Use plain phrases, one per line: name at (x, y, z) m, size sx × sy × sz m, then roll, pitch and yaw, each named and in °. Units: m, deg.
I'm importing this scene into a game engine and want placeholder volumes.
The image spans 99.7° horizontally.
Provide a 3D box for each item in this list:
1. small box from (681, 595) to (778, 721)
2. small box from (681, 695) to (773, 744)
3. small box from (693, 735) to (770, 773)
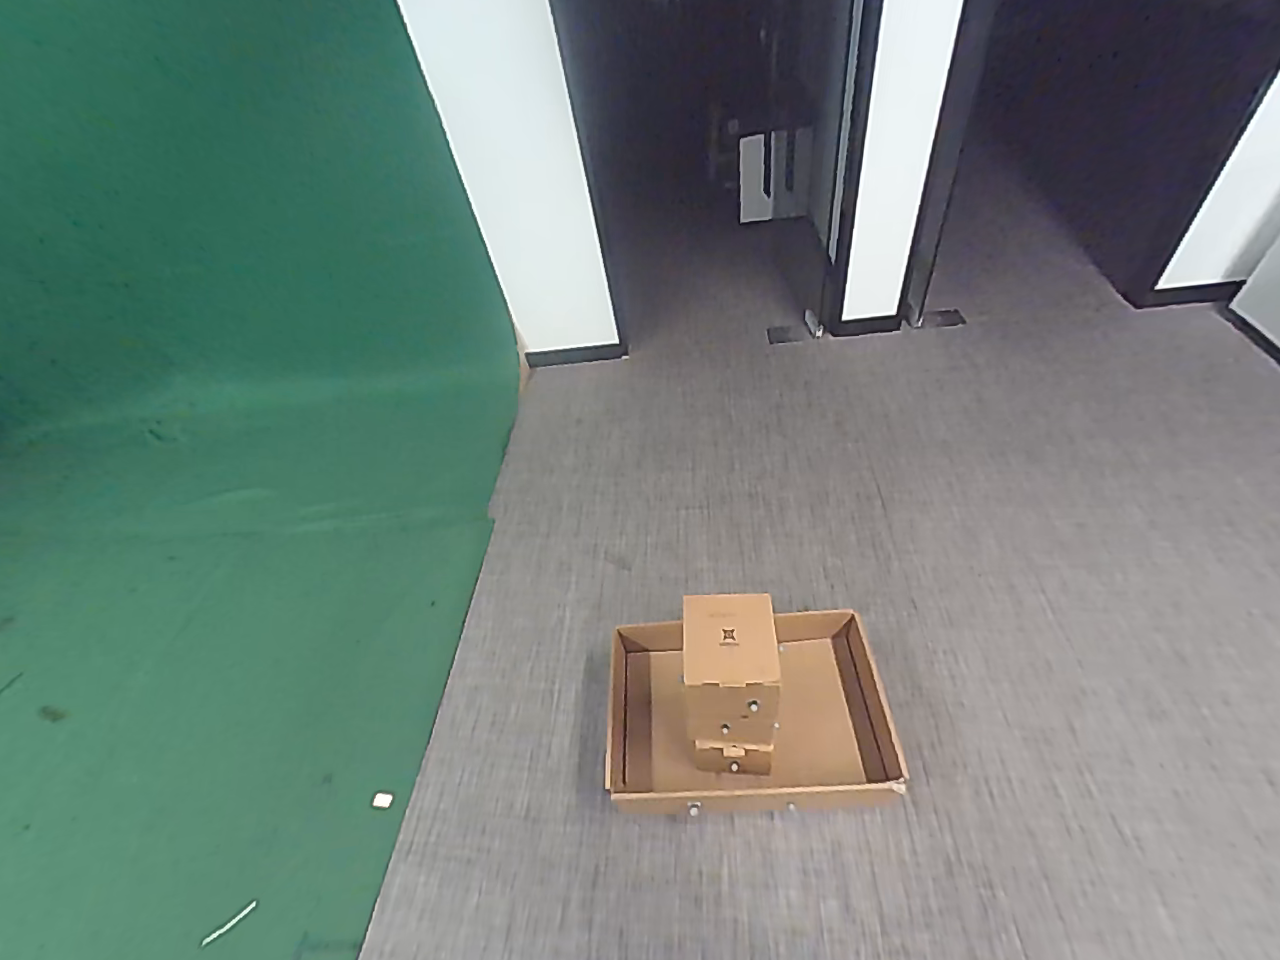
small box at (0.165, 0.336, 1.016) m, size 0.168 × 0.176 × 0.179 m, roll -2°, pitch 45°, yaw 7°
small box at (0.188, 0.440, 1.139) m, size 0.179 × 0.176 × 0.168 m, roll 0°, pitch 46°, yaw 13°
small box at (0.213, 0.559, 1.249) m, size 0.168 × 0.176 × 0.179 m, roll 0°, pitch 48°, yaw 10°
